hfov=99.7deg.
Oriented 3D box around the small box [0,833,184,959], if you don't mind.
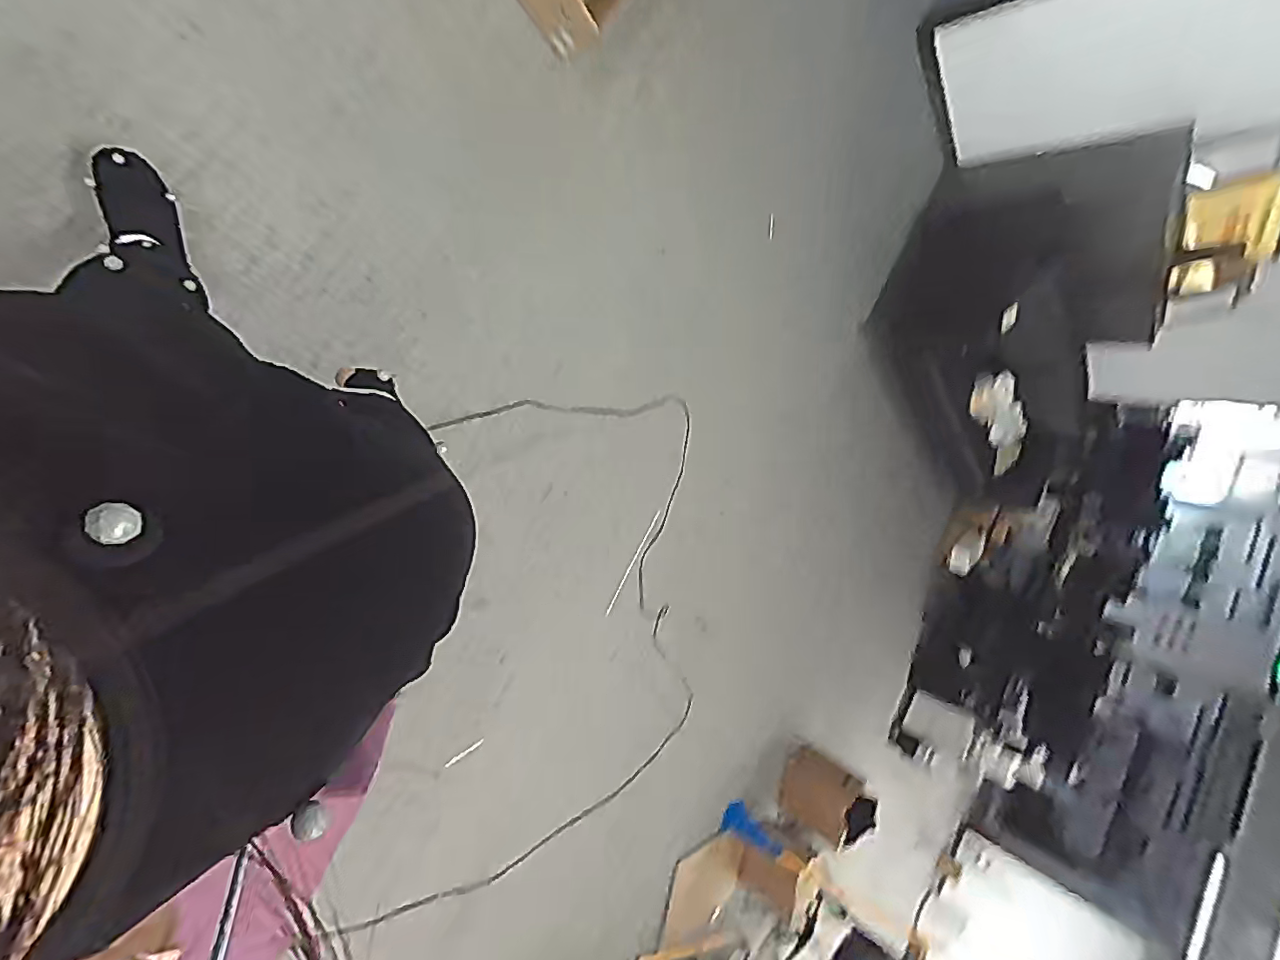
[{"bbox_3d":[-0.636,0.523,0.581,0.168,0.176,0.179,34,79,-45],"label":"small box"}]
